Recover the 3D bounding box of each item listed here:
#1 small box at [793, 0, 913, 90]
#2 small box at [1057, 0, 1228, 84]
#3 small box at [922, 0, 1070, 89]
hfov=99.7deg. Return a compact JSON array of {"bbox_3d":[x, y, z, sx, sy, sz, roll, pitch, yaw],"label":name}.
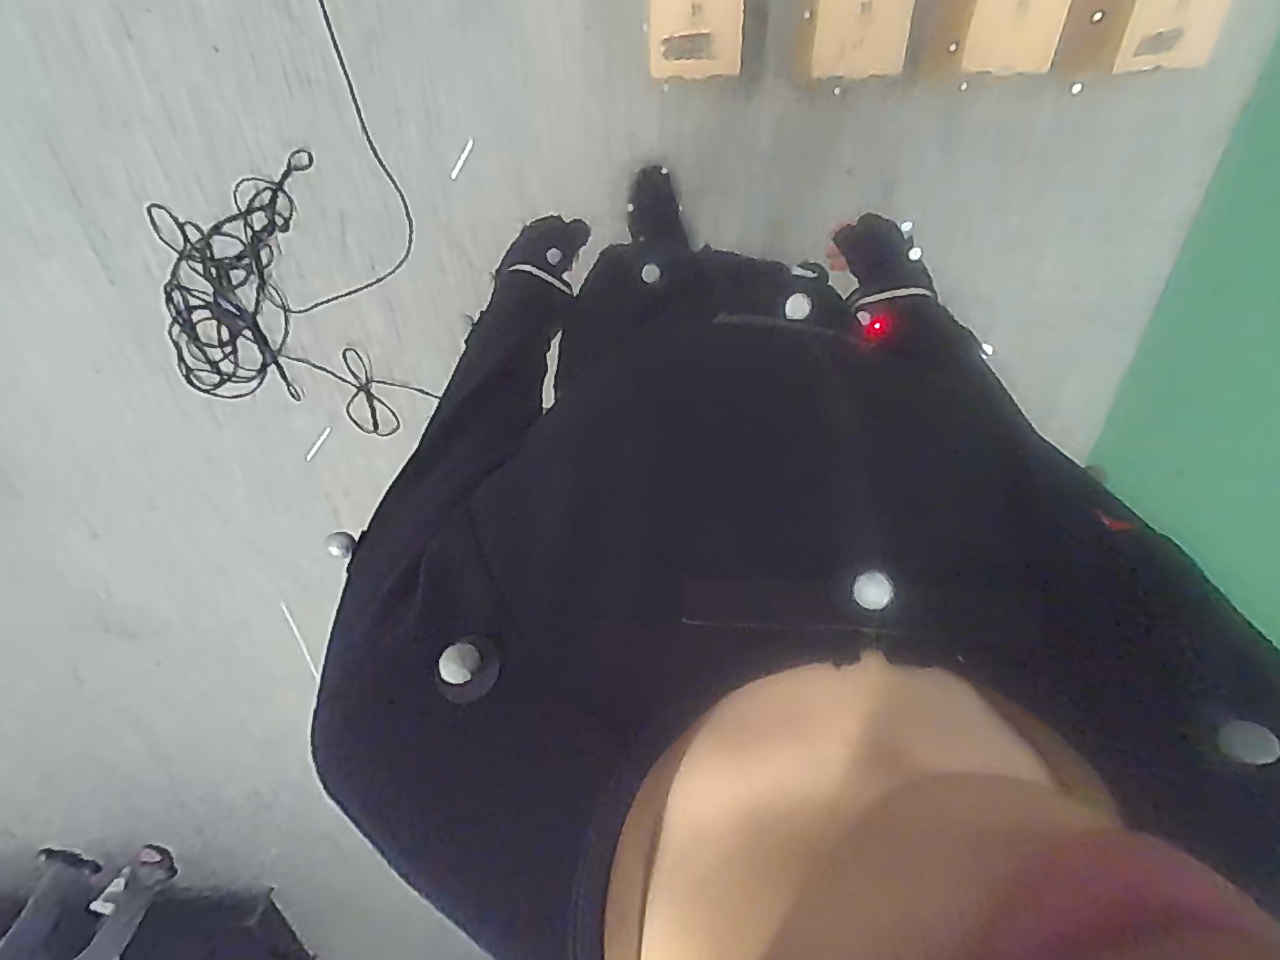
[{"bbox_3d":[0.391,-0.851,1.011,0.168,0.176,0.179,0,120,2],"label":"small box"},{"bbox_3d":[0.928,-0.851,1.005,0.168,0.176,0.179,-2,119,2],"label":"small box"},{"bbox_3d":[0.659,-0.852,1.009,0.168,0.176,0.179,1,120,0],"label":"small box"}]
